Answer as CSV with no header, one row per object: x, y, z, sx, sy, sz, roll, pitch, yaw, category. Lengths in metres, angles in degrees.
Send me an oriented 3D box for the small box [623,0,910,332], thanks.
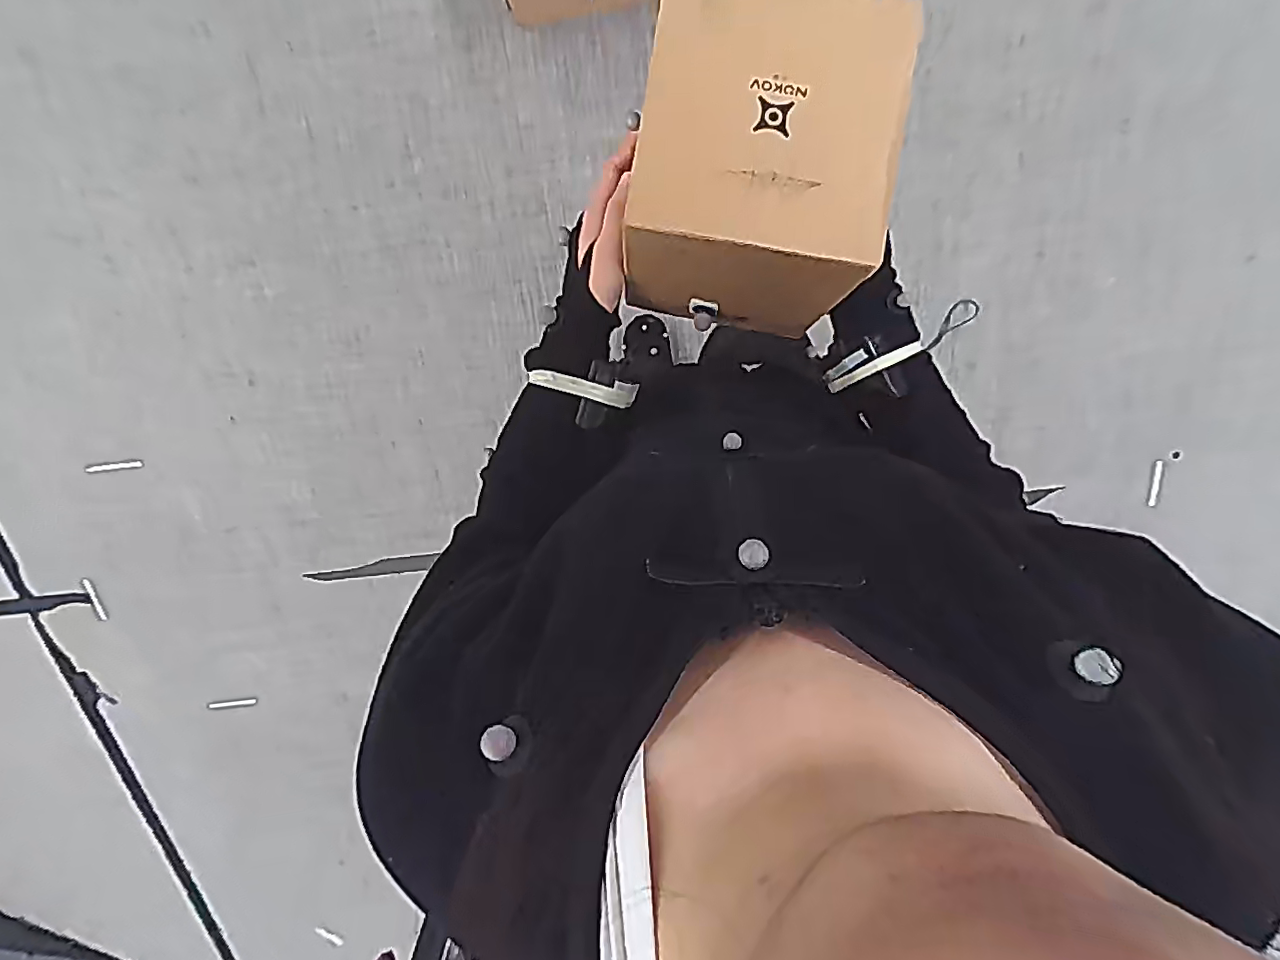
0.080,-0.235,0.425,0.168,0.176,0.179,9,90,0,small box
